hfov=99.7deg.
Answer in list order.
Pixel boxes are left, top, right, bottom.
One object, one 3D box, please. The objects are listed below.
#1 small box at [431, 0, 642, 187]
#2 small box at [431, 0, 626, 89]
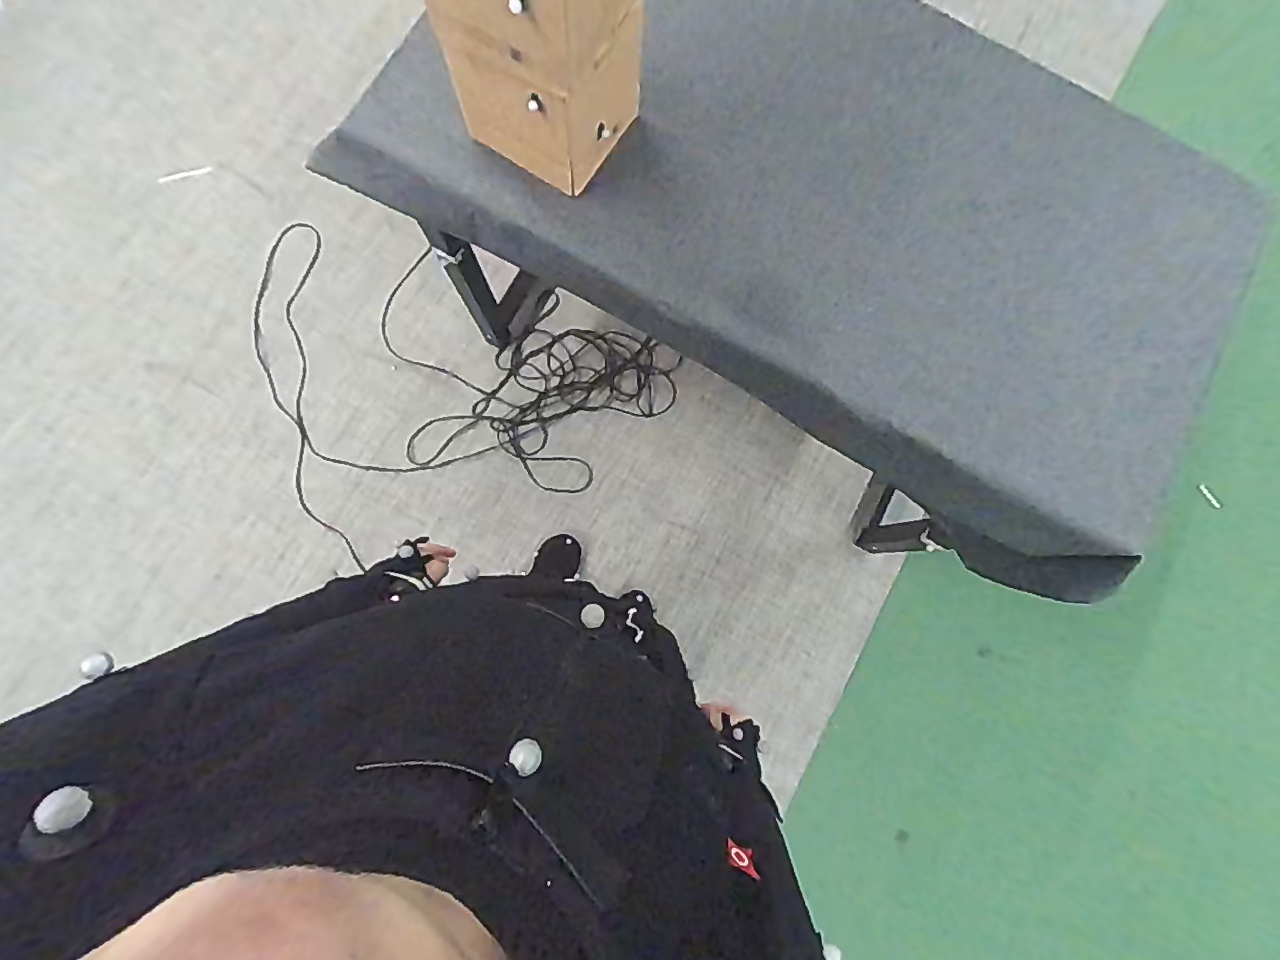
[{"bbox_3d":[-0.117,-0.509,0.668,0.179,0.176,0.168,32,80,1],"label":"small box"},{"bbox_3d":[-0.105,-0.526,0.507,0.168,0.176,0.179,27,79,-1],"label":"small box"}]
